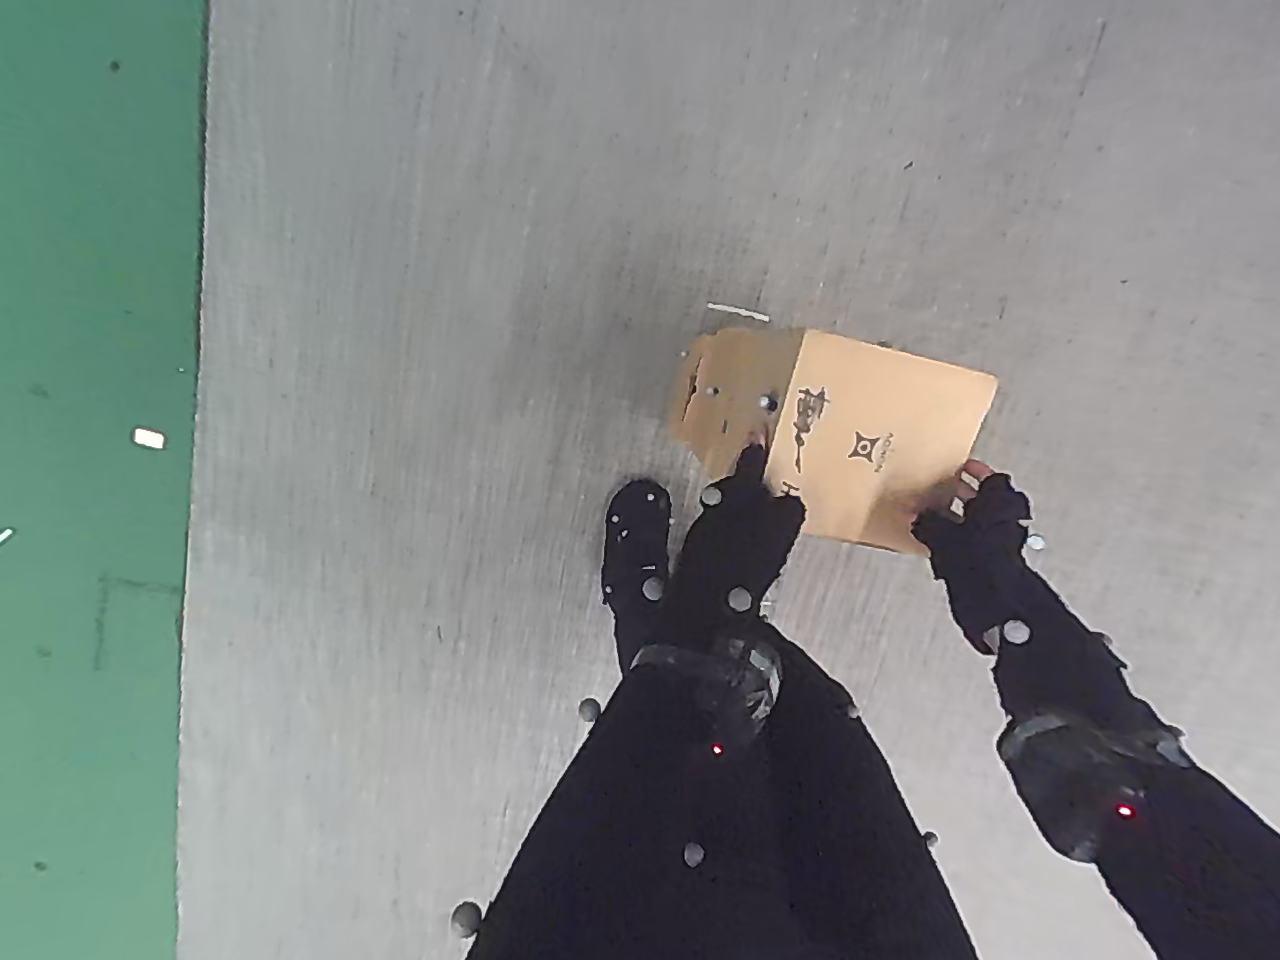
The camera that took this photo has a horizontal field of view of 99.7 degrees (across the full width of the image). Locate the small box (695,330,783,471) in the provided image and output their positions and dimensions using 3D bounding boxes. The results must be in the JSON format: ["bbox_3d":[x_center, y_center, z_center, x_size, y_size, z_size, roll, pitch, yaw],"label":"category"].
[{"bbox_3d":[0.177,-0.093,0.728,0.168,0.176,0.179,13,103,-3],"label":"small box"}]

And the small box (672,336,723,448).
[{"bbox_3d":[0.159,-0.128,0.885,0.179,0.176,0.168,14,103,-5],"label":"small box"}]

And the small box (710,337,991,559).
[{"bbox_3d":[0.188,-0.042,0.539,0.179,0.176,0.168,13,103,-8],"label":"small box"}]
